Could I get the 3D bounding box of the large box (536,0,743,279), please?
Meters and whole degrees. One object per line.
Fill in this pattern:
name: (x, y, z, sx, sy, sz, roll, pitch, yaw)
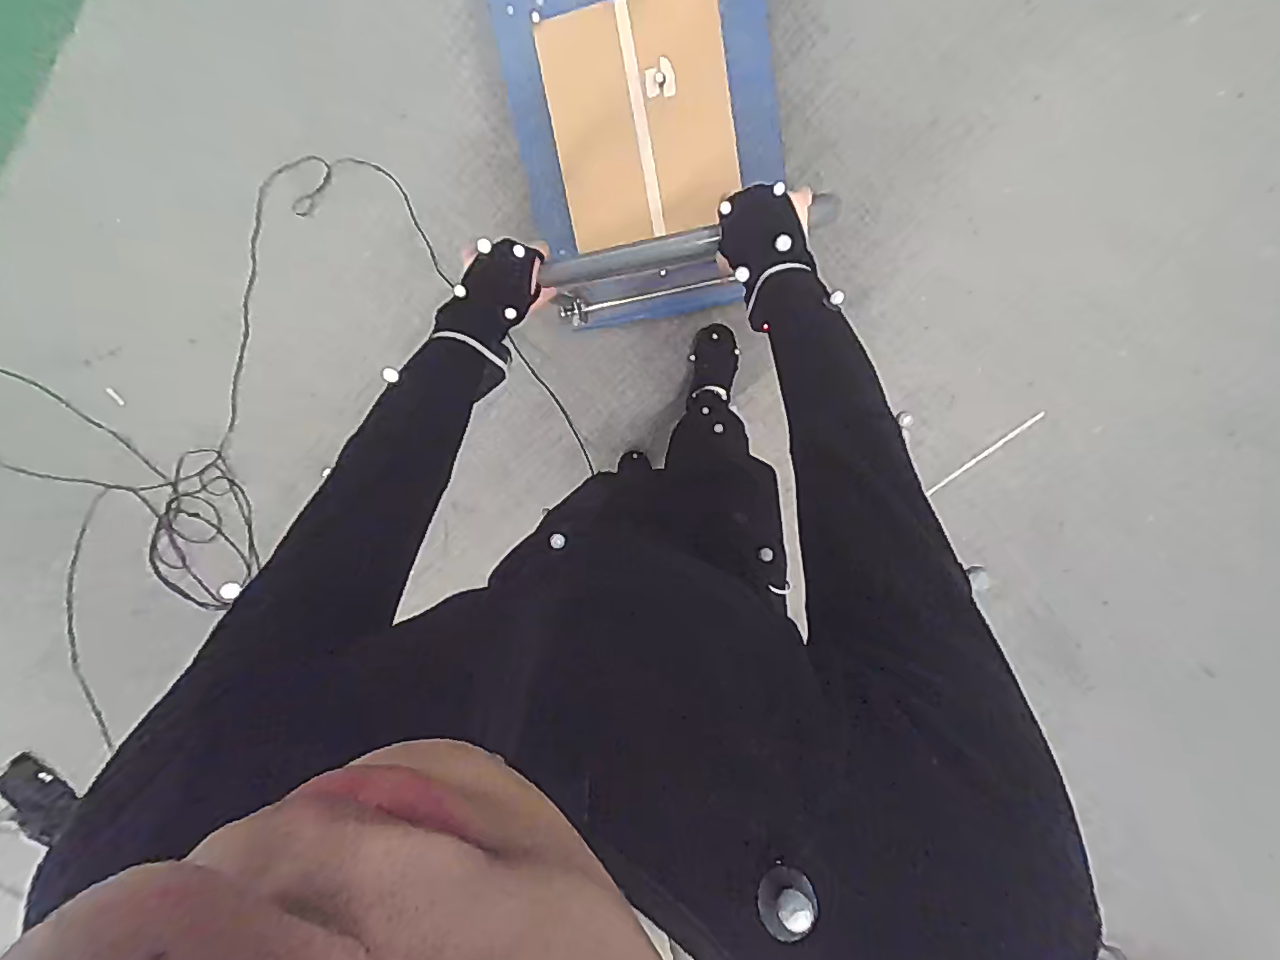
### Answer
large box: (0.024, -0.660, 1.104, 0.320, 0.320, 0.408, -8, 104, 10)
